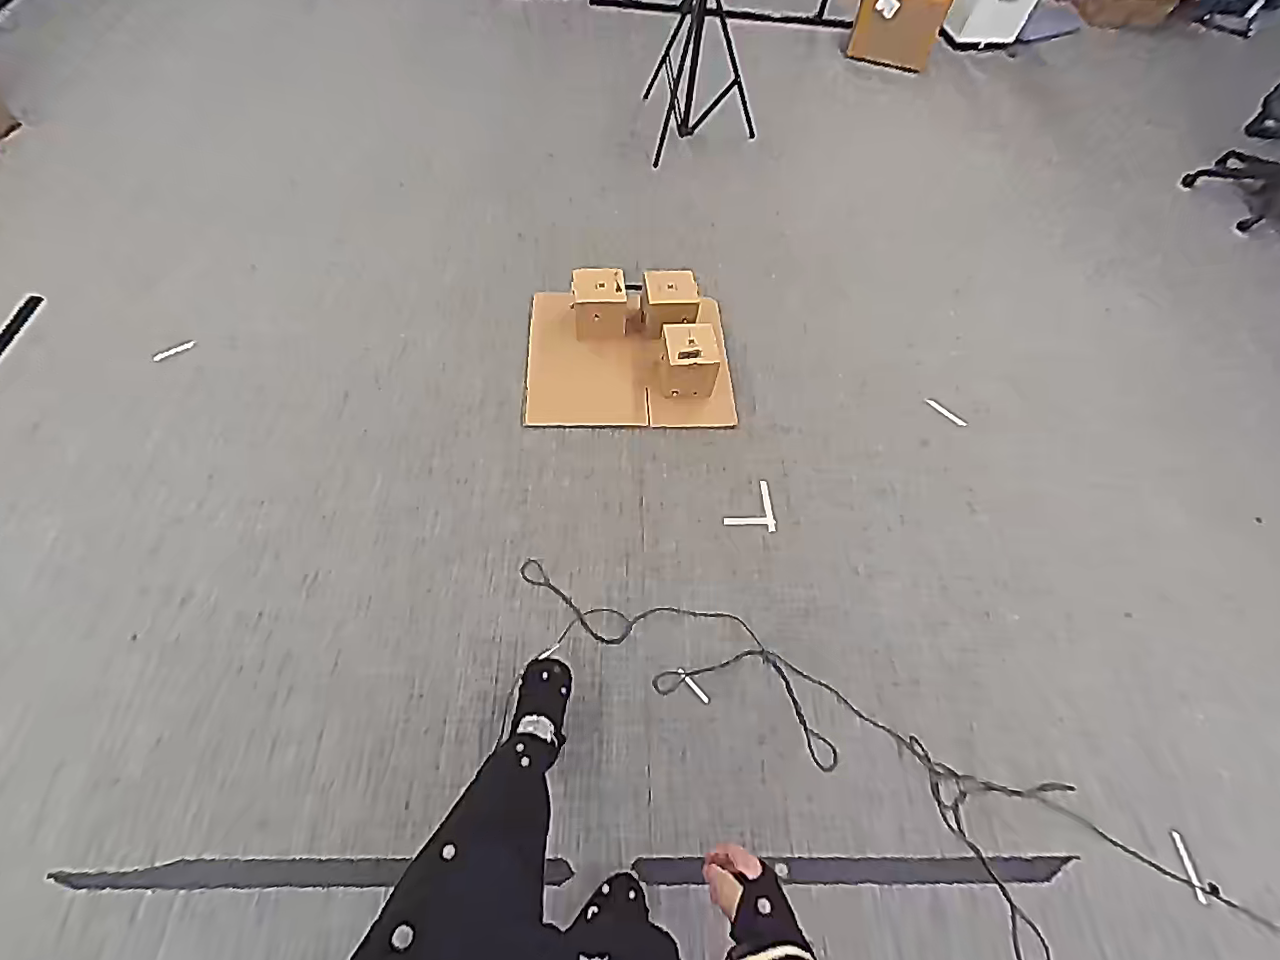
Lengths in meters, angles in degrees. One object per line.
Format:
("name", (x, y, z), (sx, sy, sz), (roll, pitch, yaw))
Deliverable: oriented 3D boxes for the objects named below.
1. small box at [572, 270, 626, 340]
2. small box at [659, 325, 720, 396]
("small box", (-0.142, -0.608, 1.888), (0.179, 0.176, 0.168), (-4, 61, -6))
("small box", (0.159, -0.390, 1.792), (0.168, 0.176, 0.179), (-3, 60, -7))
